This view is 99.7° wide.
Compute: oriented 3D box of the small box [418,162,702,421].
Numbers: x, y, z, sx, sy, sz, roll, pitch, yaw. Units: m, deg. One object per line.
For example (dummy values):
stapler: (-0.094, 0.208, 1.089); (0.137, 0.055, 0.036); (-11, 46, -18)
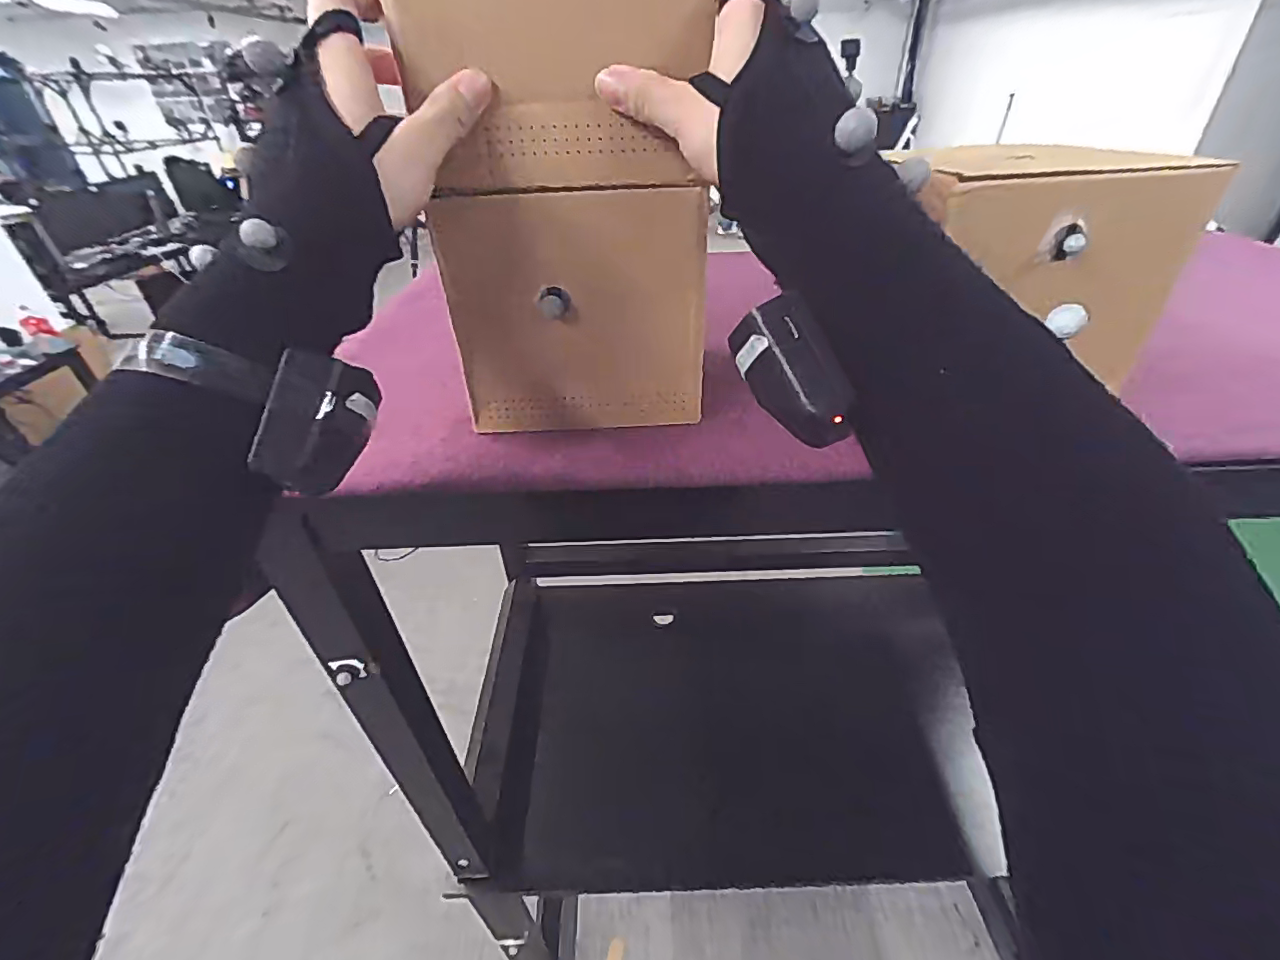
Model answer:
small box: (-0.046, -0.156, 0.432); (0.179, 0.176, 0.168); (-4, 35, -1)

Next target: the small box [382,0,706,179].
small box: (-0.054, -0.290, 0.341); (0.179, 0.176, 0.168); (-3, 35, -2)
